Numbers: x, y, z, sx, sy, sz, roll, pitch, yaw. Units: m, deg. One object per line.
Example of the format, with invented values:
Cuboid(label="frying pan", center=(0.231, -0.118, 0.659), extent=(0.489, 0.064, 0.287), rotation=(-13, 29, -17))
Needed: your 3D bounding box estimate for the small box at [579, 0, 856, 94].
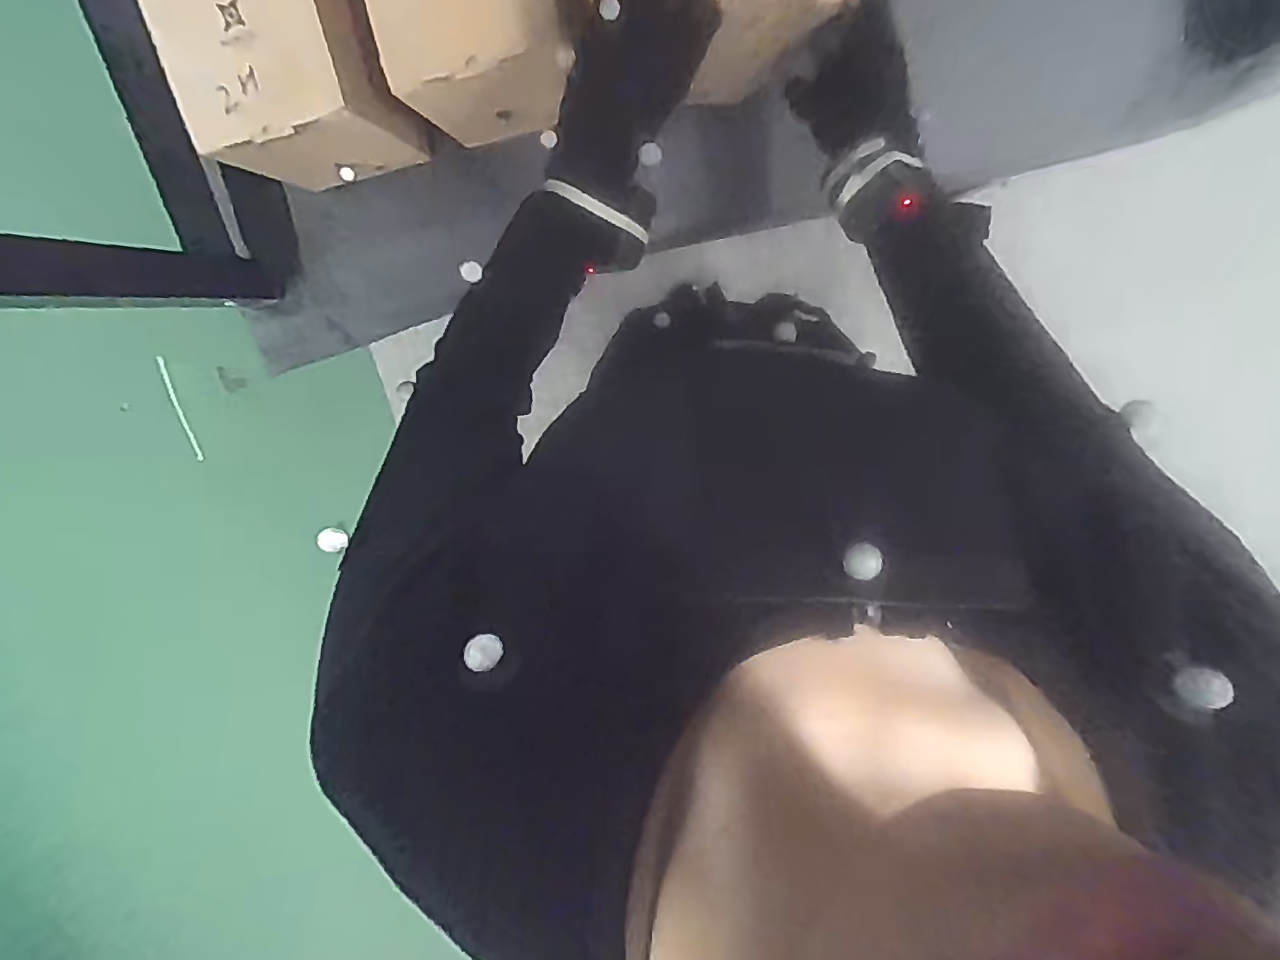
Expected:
Cuboid(label="small box", center=(0.051, -0.452, 0.446), extent=(0.168, 0.176, 0.179), rotation=(-21, 106, -27))
